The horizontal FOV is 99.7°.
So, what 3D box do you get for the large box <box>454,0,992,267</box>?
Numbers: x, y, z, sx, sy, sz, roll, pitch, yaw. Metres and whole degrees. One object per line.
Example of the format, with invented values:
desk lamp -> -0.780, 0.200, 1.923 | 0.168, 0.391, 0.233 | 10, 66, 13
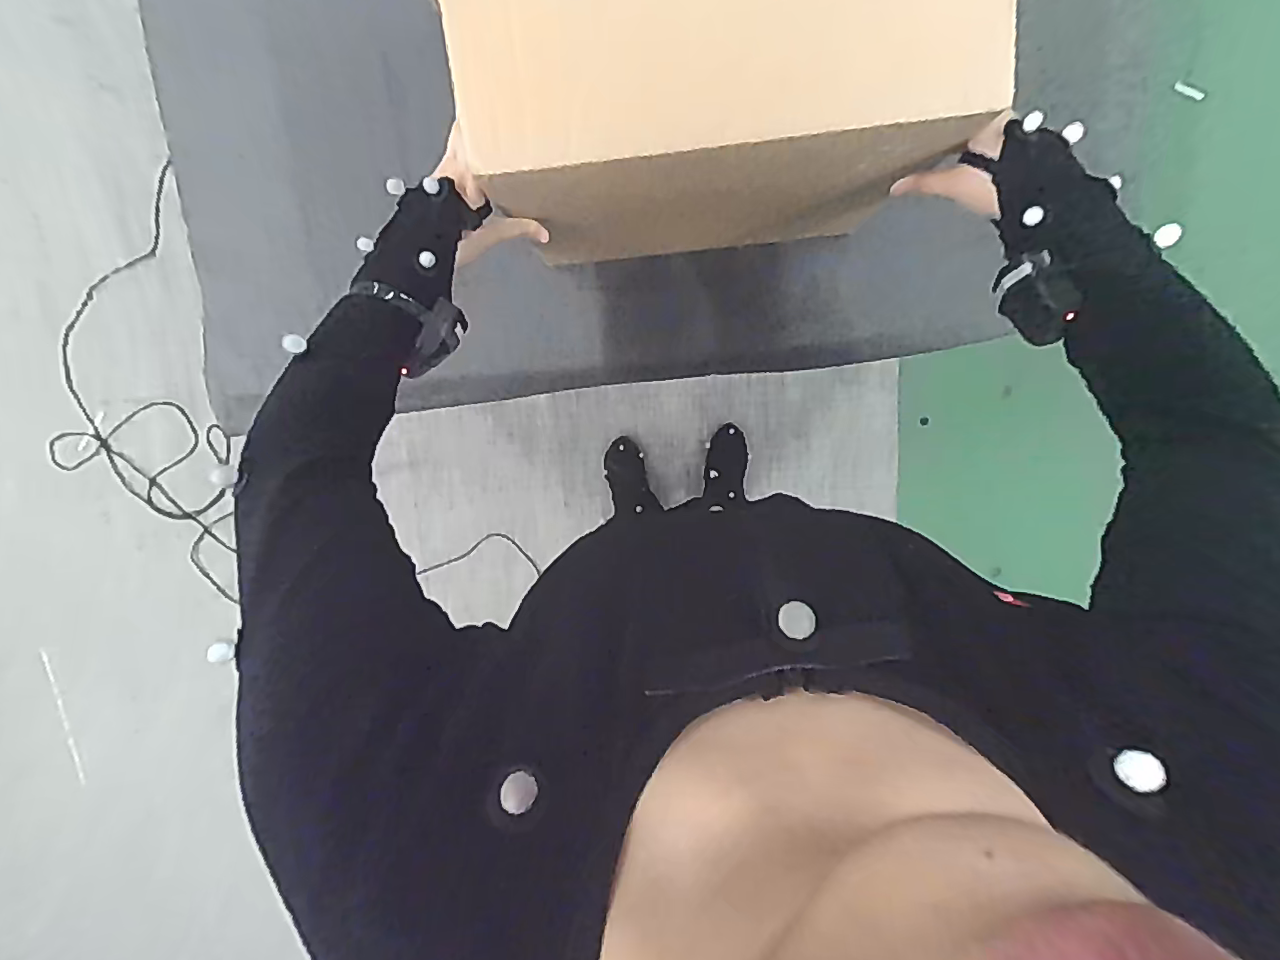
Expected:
large box -> 0.053, -0.430, 0.541 | 0.408, 0.320, 0.320 | -6, 100, 2
